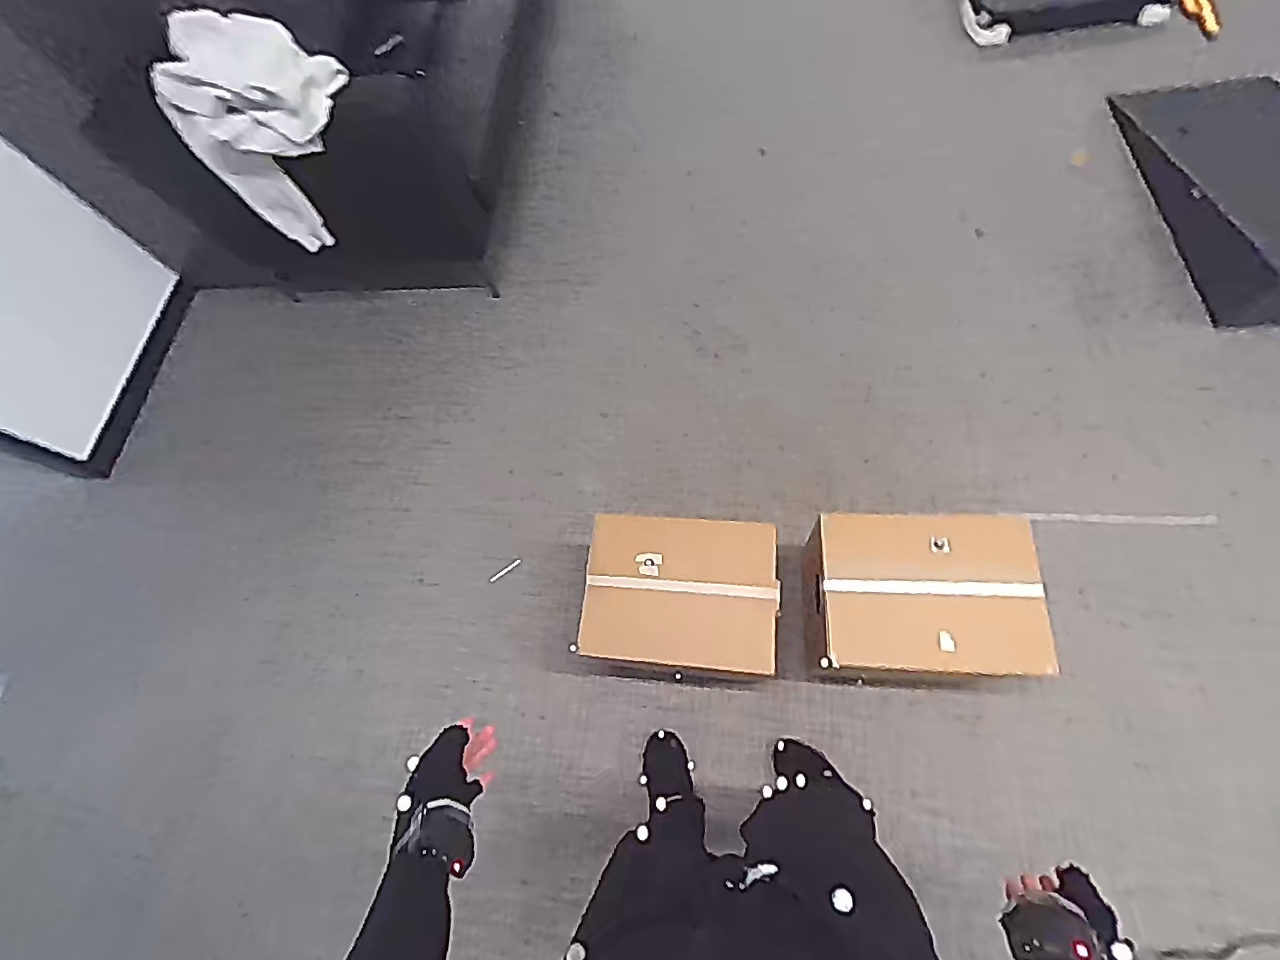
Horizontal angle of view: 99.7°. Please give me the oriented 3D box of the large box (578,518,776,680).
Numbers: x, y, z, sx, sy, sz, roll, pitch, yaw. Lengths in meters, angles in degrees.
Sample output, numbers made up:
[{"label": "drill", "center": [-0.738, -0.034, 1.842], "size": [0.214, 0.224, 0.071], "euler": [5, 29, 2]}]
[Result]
[{"label": "large box", "center": [0.106, 0.287, 1.266], "size": [0.408, 0.320, 0.320], "euler": [2, 67, 11]}]
